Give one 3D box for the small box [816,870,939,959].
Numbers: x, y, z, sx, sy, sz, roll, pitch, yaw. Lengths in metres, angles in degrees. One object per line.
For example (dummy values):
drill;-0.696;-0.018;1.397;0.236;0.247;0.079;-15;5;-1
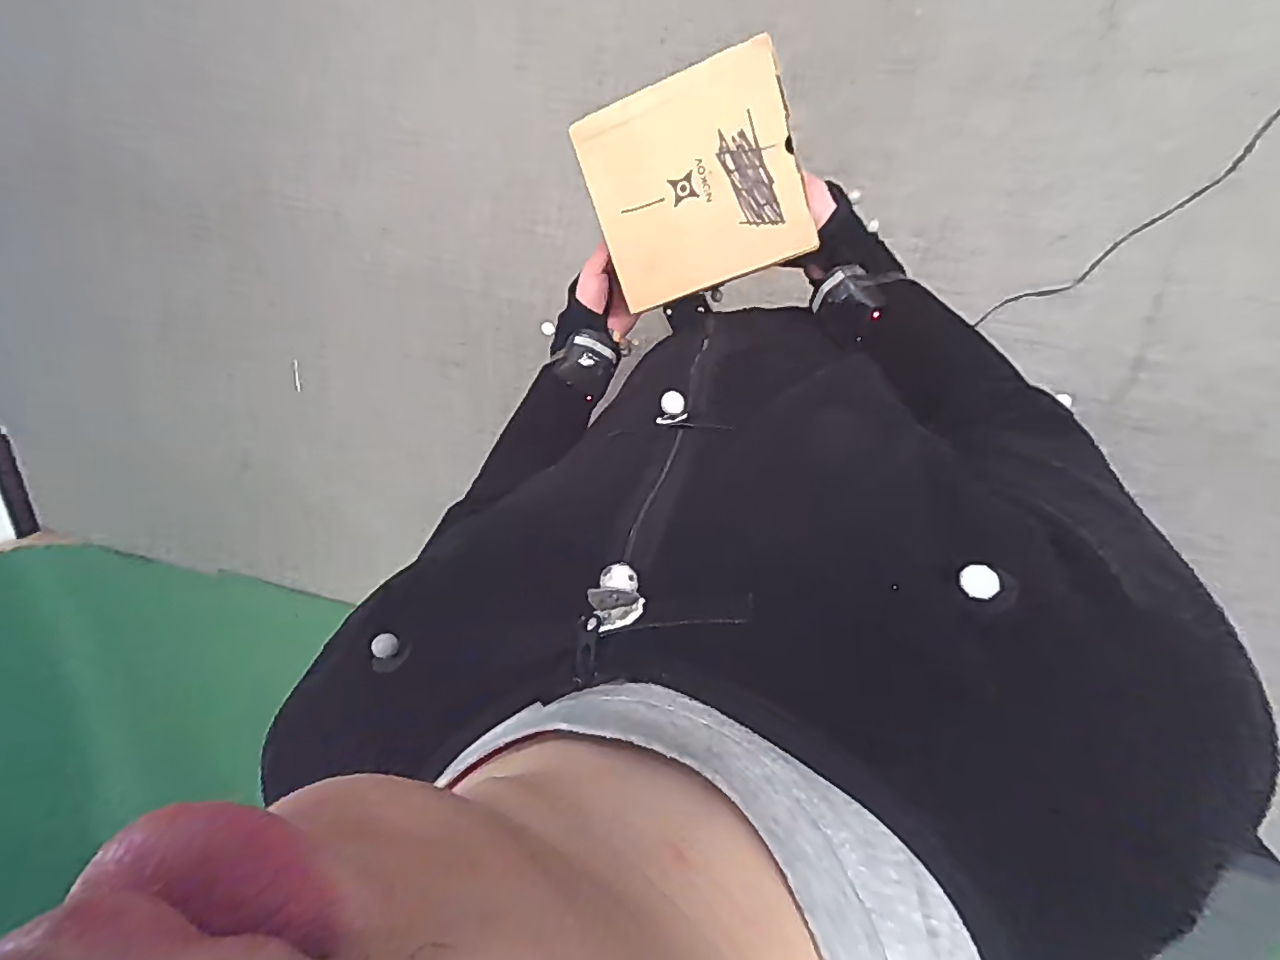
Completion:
small box;0.427;0.855;0.976;0.179;0.176;0.168;11;112;12
